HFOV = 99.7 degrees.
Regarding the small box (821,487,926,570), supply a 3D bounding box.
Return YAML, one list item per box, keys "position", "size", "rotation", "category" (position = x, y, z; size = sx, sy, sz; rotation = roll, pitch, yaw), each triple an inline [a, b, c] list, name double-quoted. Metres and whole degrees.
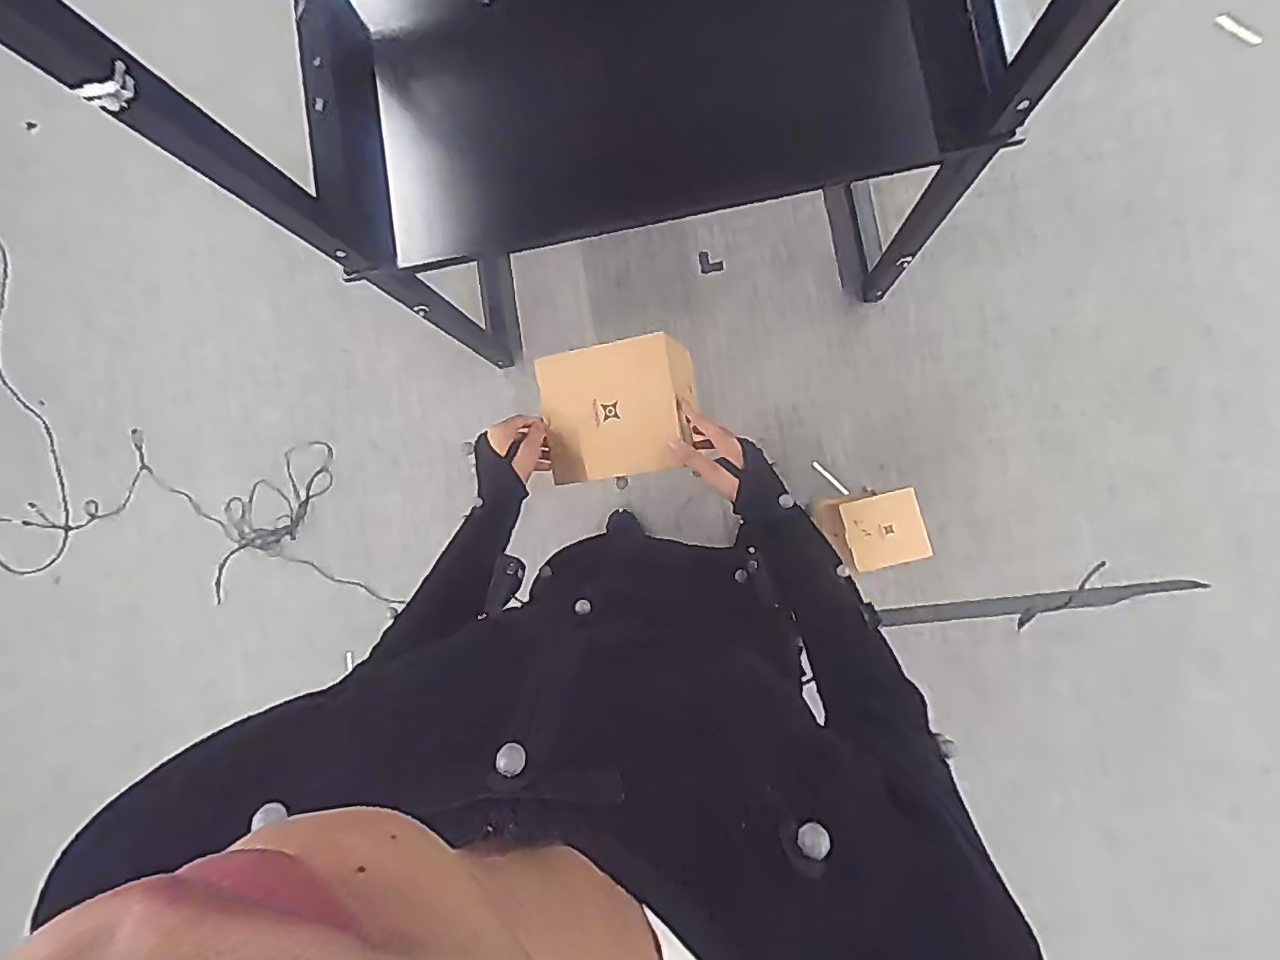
- position: [0.565, 0.115, 1.331]
  size: [0.179, 0.176, 0.168]
  rotation: [-14, 86, 7]
  category: "small box"
